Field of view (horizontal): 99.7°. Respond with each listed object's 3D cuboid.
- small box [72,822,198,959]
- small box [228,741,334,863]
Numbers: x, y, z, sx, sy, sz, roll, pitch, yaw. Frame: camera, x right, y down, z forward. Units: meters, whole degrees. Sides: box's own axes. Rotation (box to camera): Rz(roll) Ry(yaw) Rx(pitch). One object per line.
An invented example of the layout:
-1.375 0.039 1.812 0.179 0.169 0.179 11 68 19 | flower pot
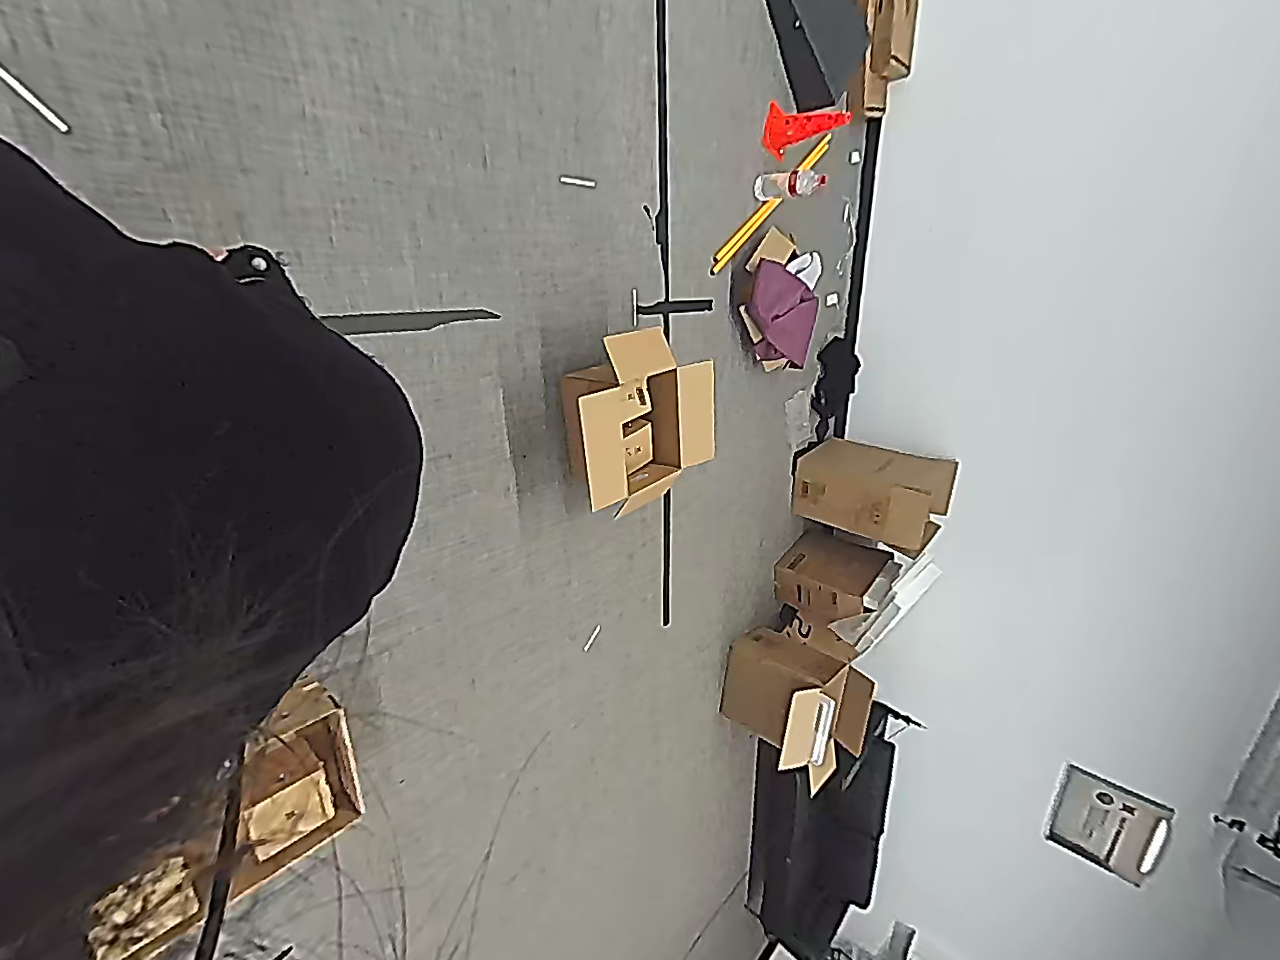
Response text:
-1.120 0.905 1.200 0.168 0.176 0.179 -18 114 -46 | small box
-0.926 0.819 1.397 0.179 0.176 0.168 -19 115 -43 | small box
